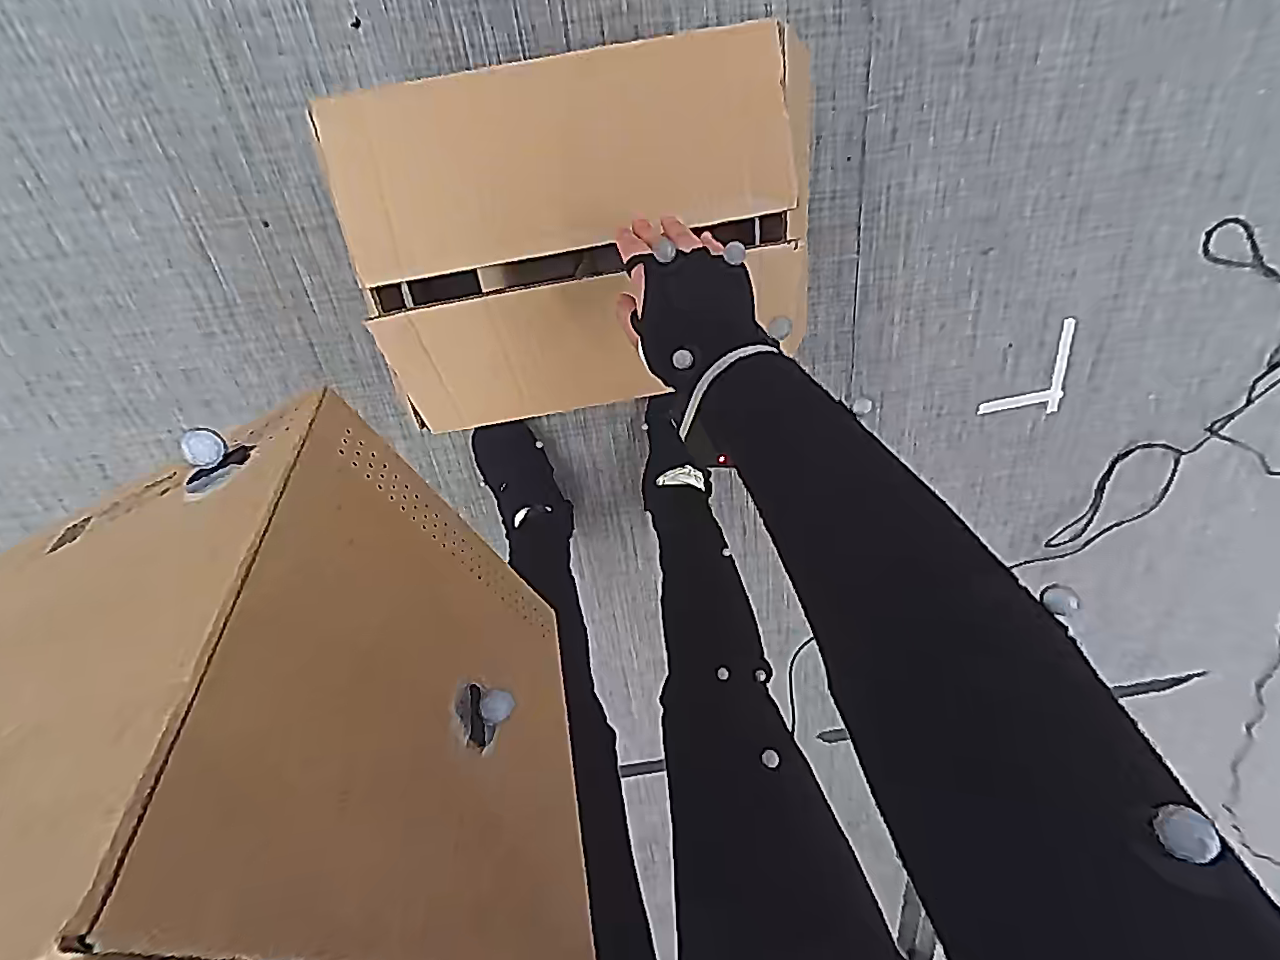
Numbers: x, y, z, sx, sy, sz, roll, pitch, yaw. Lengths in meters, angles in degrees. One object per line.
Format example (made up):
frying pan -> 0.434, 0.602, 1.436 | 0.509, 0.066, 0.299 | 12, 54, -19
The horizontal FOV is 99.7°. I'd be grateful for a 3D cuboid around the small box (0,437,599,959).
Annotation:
small box -> -0.137, 0.106, 0.209 | 0.168, 0.176, 0.179 | -26, 132, 6
